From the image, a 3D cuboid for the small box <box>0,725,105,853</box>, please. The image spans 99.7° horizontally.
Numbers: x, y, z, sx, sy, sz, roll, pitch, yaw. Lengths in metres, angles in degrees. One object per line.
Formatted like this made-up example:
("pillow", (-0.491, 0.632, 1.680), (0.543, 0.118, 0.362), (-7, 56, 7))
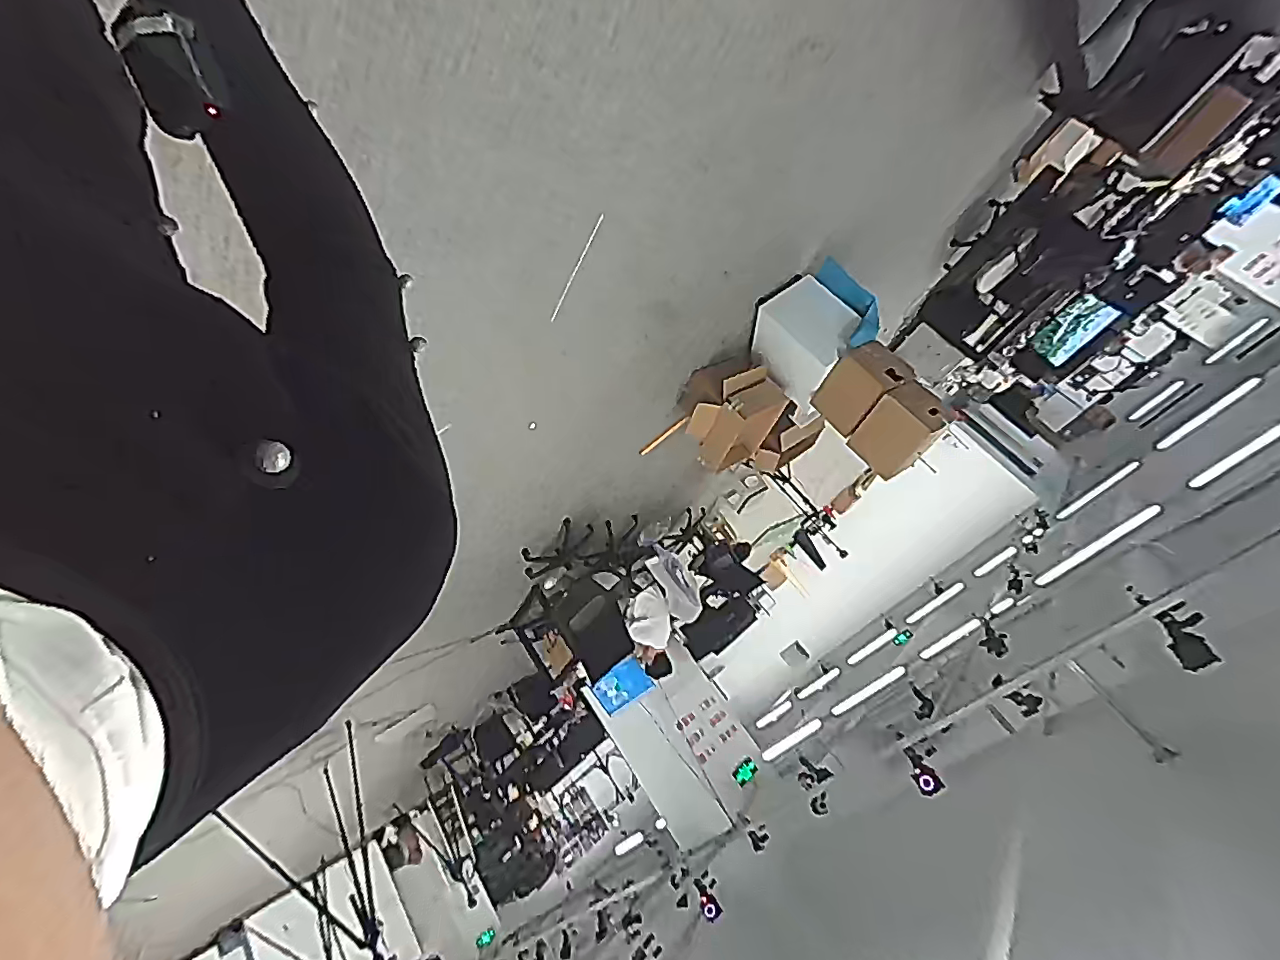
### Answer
("small box", (-1.380, 0.710, 1.255), (0.179, 0.176, 0.168), (-11, 147, -49))
